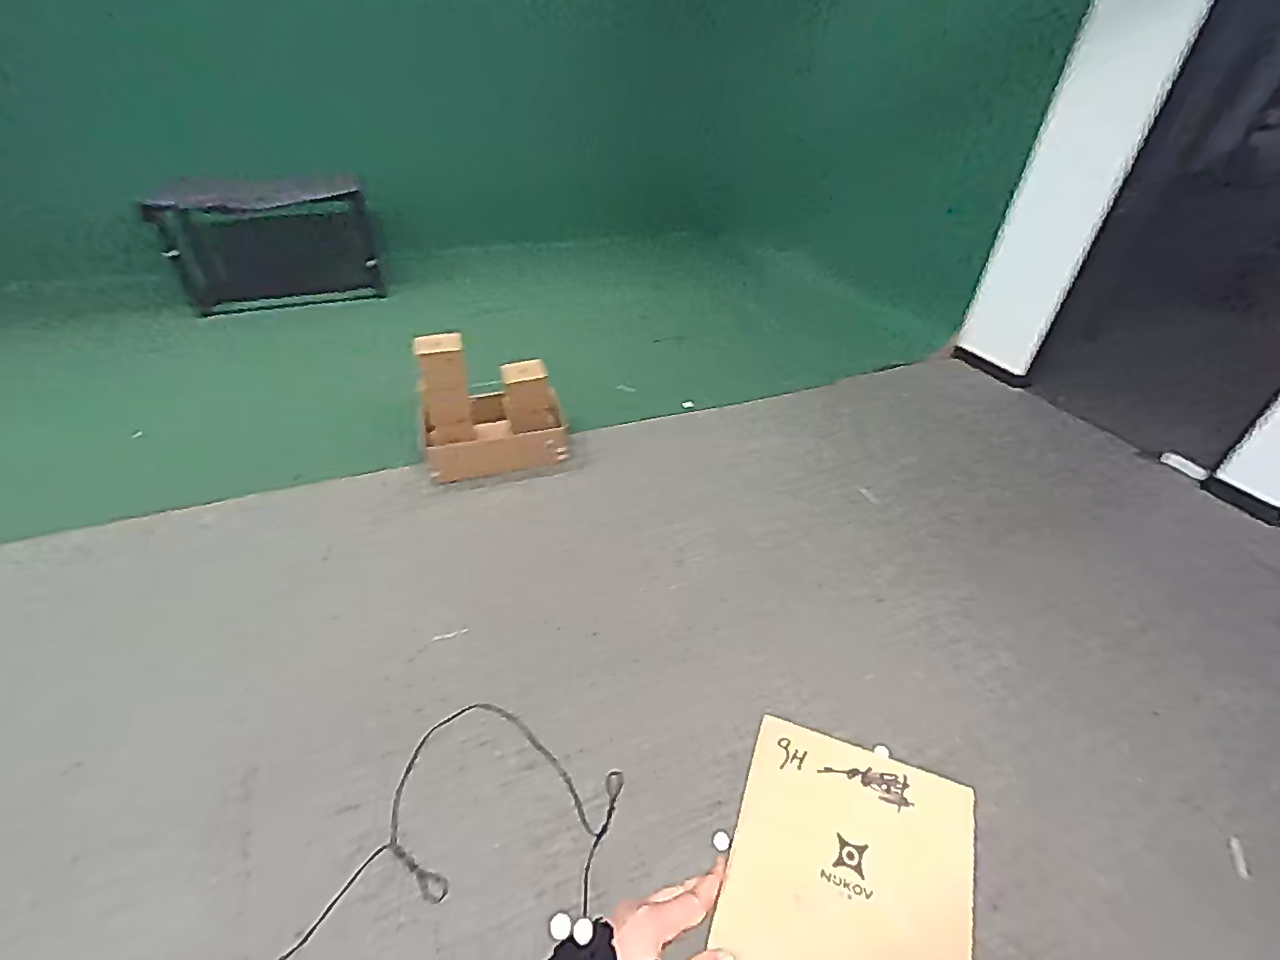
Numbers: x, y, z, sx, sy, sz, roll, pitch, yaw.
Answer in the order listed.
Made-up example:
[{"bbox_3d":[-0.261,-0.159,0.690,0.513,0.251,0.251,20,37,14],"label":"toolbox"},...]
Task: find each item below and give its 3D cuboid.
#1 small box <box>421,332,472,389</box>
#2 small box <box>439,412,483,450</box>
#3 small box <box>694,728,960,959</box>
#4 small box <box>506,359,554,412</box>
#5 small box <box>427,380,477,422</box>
[{"bbox_3d":[-0.803,-0.496,2.250,0.179,0.176,0.168,-11,41,-15],"label":"small box"},{"bbox_3d":[-0.821,-0.248,2.467,0.168,0.176,0.179,-11,42,-16],"label":"small box"},{"bbox_3d":[0.151,0.348,0.459,0.168,0.176,0.179,14,53,17],"label":"small box"},{"bbox_3d":[-0.493,-0.422,2.429,0.179,0.176,0.168,-13,44,-15],"label":"small box"},{"bbox_3d":[-0.818,-0.368,2.354,0.179,0.176,0.168,-10,41,-15],"label":"small box"}]
